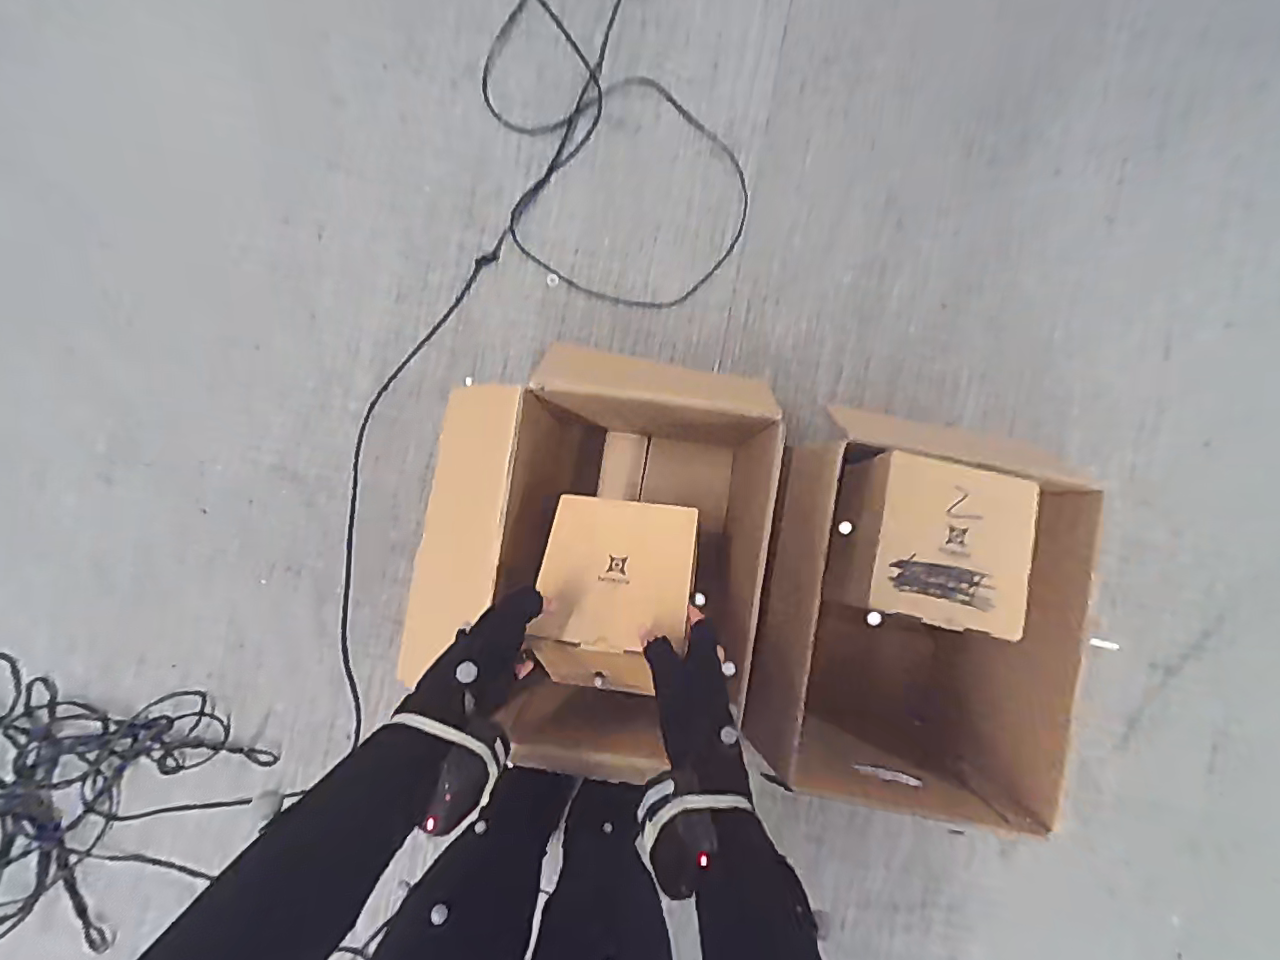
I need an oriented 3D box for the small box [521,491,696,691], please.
[{"bbox_3d":[-0.025,0.137,0.651,0.168,0.176,0.179,6,58,7],"label":"small box"}]
